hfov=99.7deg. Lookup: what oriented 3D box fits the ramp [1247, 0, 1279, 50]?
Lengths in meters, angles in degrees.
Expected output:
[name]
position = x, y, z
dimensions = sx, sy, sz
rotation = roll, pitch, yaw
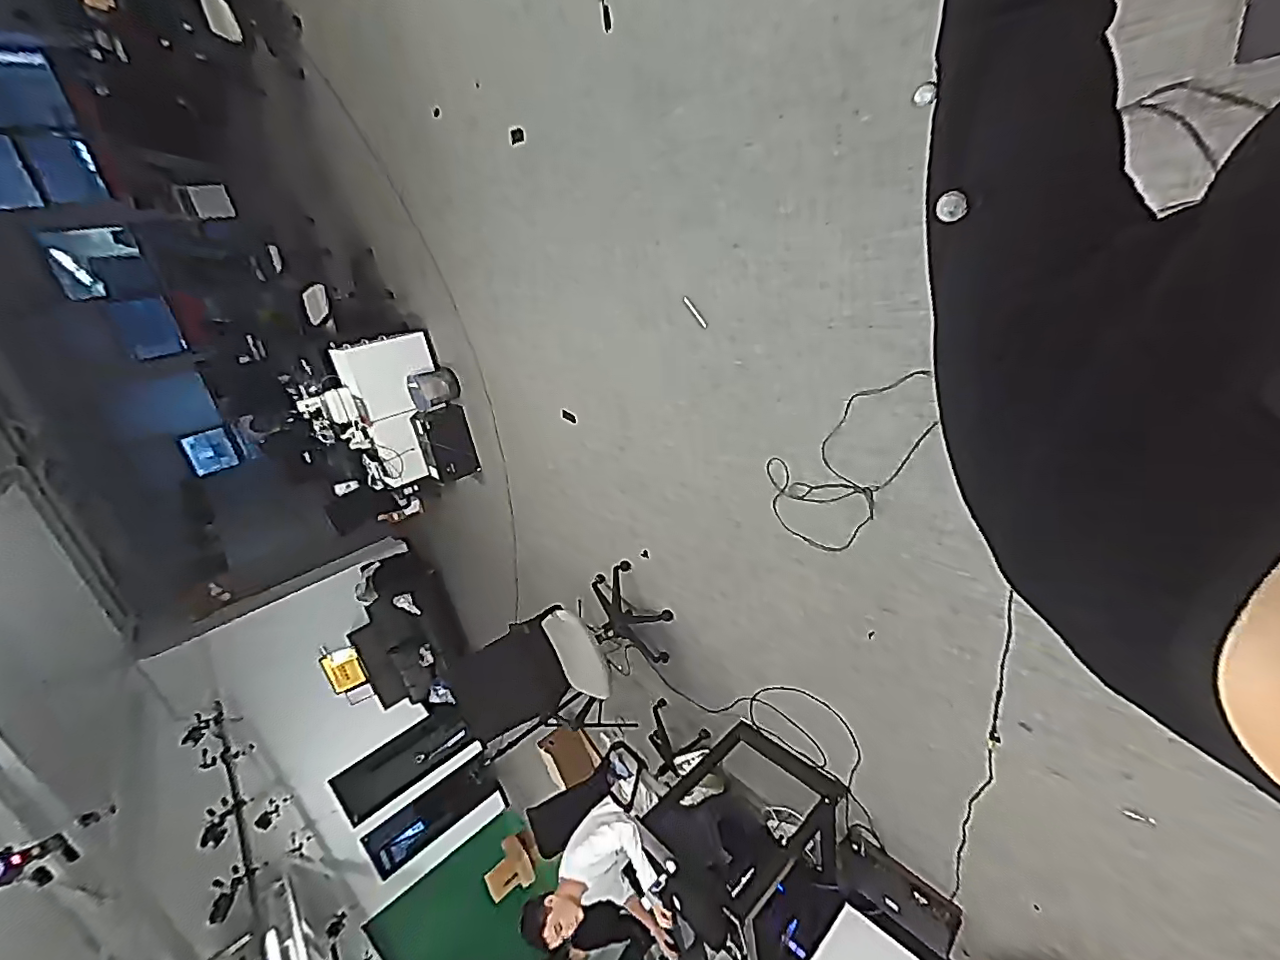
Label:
[ramp]
position = 1.006, -1.065, 0.471
dimensions = 0.509, 0.206, 0.991
rotation = 14, 123, 47
